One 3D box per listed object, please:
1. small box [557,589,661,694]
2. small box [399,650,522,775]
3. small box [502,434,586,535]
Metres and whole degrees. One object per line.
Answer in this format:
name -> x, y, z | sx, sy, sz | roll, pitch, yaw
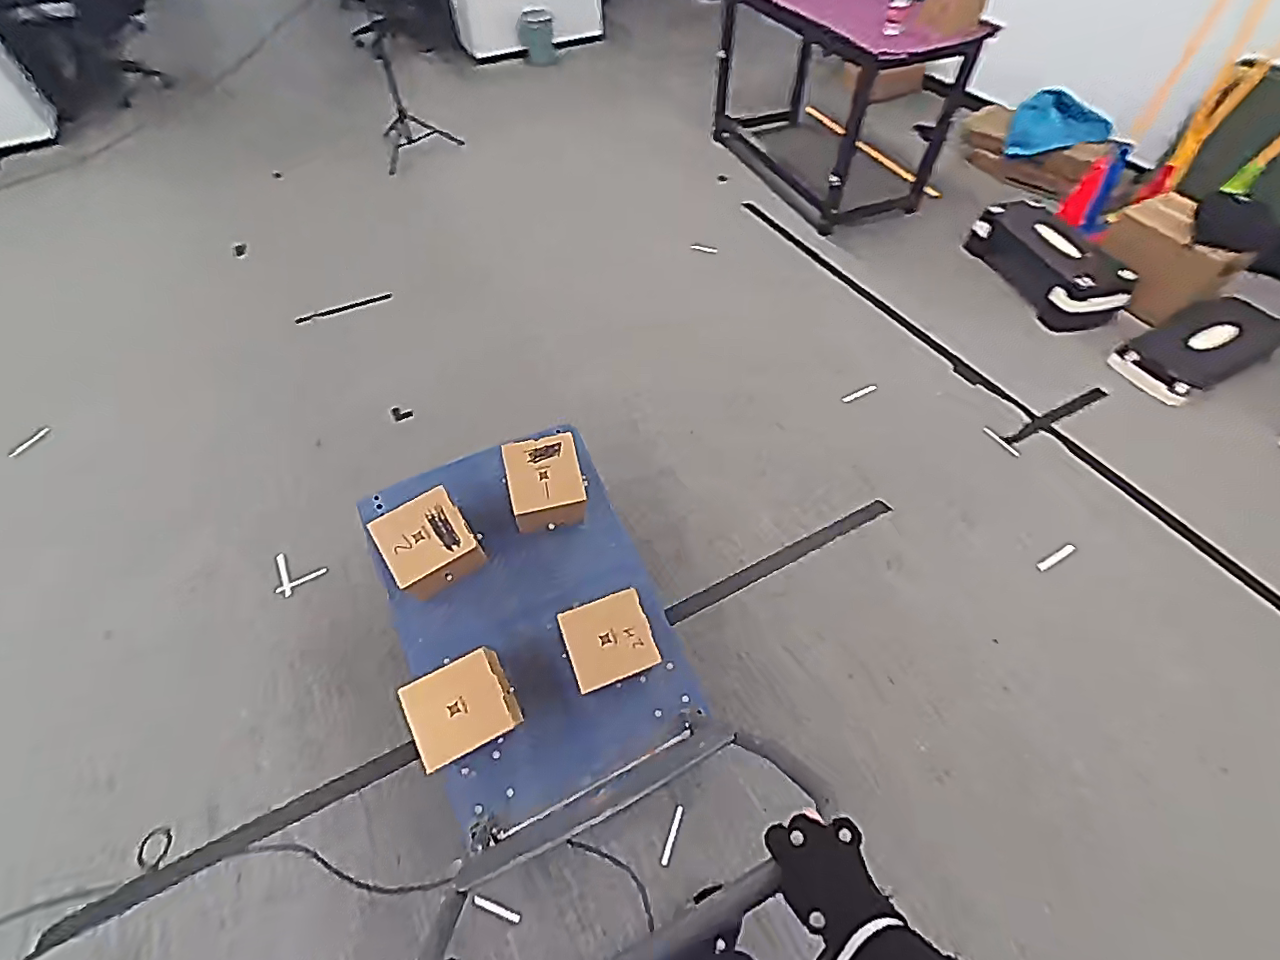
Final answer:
small box -> -0.070, 0.357, 1.180 | 0.179, 0.176, 0.168 | -18, 72, -13
small box -> -0.356, 0.470, 1.103 | 0.179, 0.176, 0.168 | -25, 73, -17
small box -> -0.229, 0.015, 1.297 | 0.168, 0.176, 0.179 | -12, 72, -11
